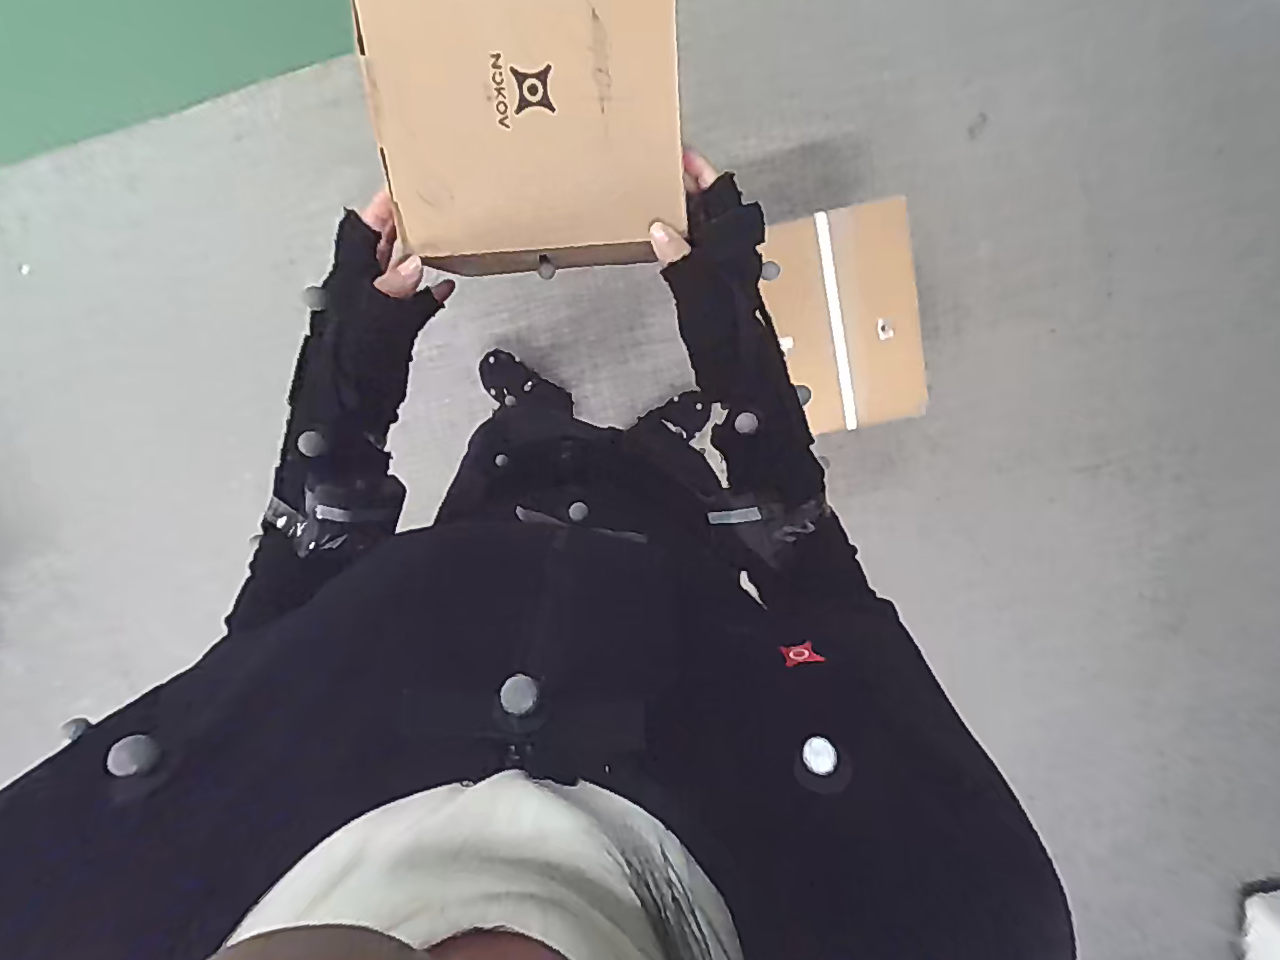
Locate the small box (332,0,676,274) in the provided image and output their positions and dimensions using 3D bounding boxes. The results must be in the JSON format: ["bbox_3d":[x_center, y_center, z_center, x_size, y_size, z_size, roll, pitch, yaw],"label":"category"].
[{"bbox_3d":[-0.076,-0.243,0.379,0.179,0.176,0.168,-8,109,-1],"label":"small box"}]
